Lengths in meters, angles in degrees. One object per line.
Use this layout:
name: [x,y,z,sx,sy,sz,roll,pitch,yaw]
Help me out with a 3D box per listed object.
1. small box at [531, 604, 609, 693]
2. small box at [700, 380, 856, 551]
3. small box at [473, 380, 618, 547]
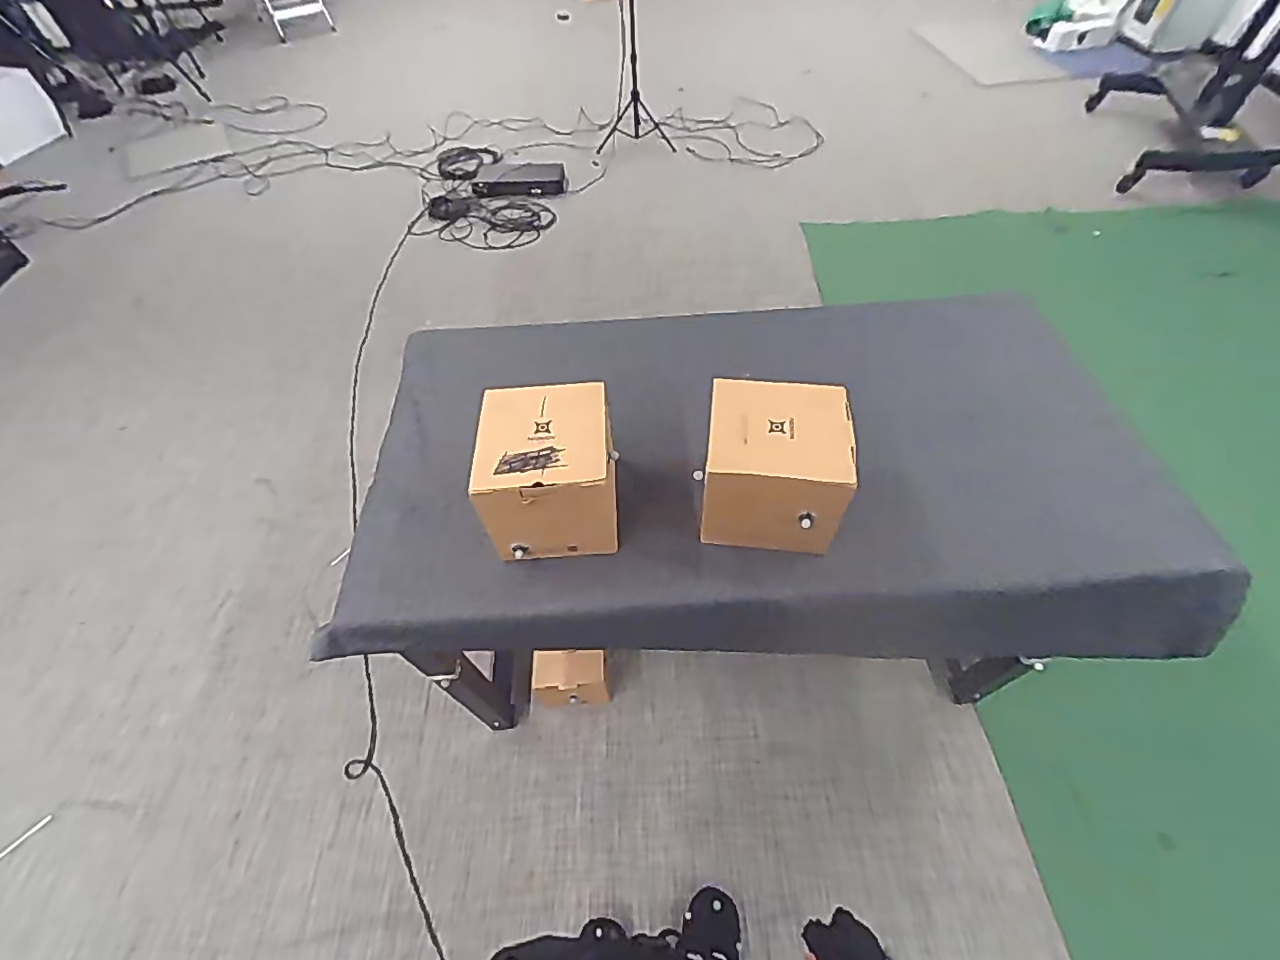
small box: [-0.166,0.424,1.342,0.168,0.176,0.179,-3,55,0]
small box: [0.180,-0.015,0.747,0.179,0.176,0.168,5,54,7]
small box: [-0.119,-0.016,0.755,0.168,0.176,0.179,-3,53,0]
